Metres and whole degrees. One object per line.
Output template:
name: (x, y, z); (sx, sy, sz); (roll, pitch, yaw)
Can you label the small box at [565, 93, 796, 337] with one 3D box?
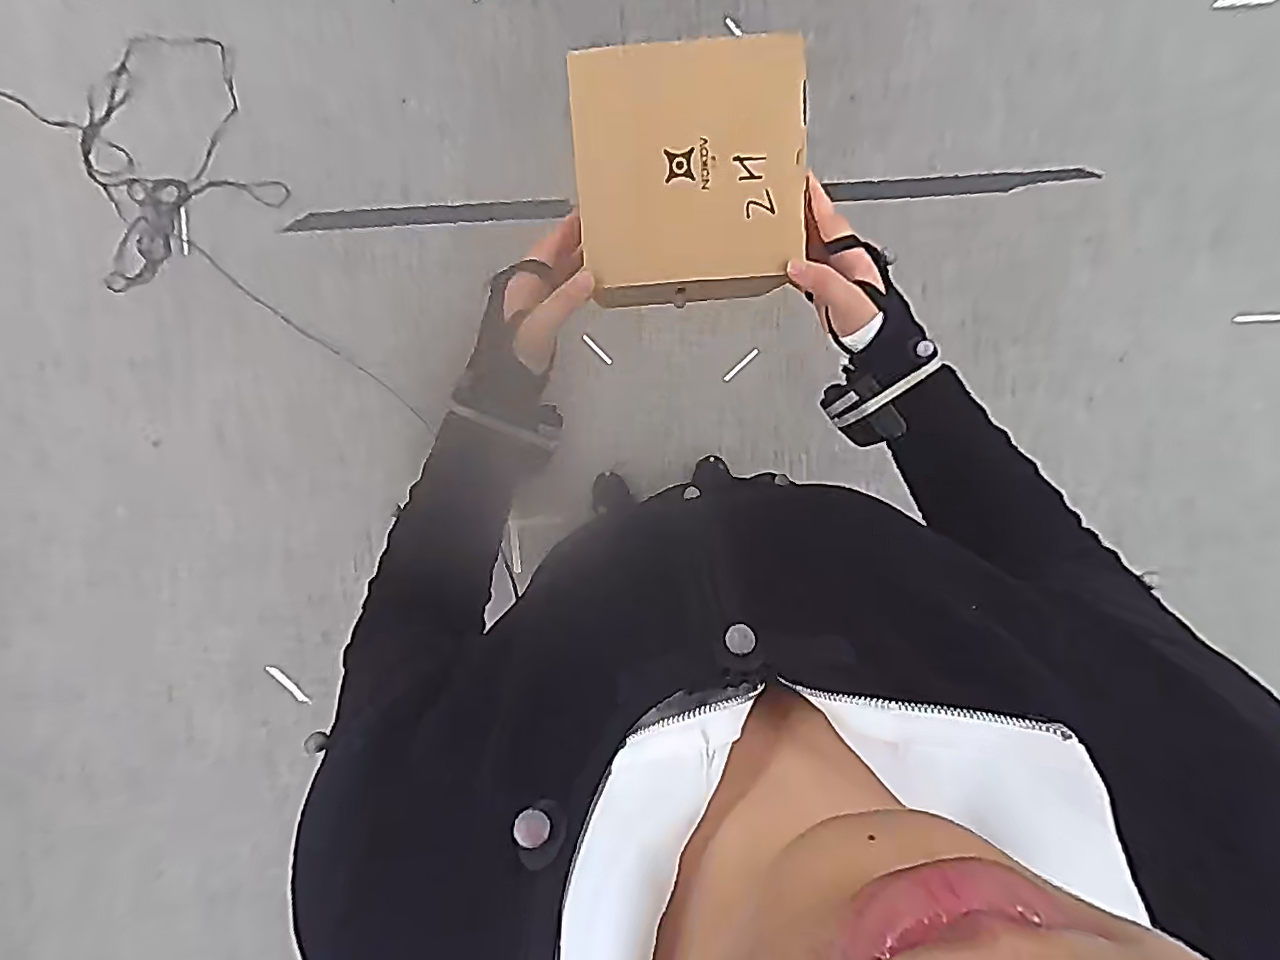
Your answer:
small box: (0.035, -0.223, 0.499); (0.179, 0.176, 0.168); (-3, 103, 1)
